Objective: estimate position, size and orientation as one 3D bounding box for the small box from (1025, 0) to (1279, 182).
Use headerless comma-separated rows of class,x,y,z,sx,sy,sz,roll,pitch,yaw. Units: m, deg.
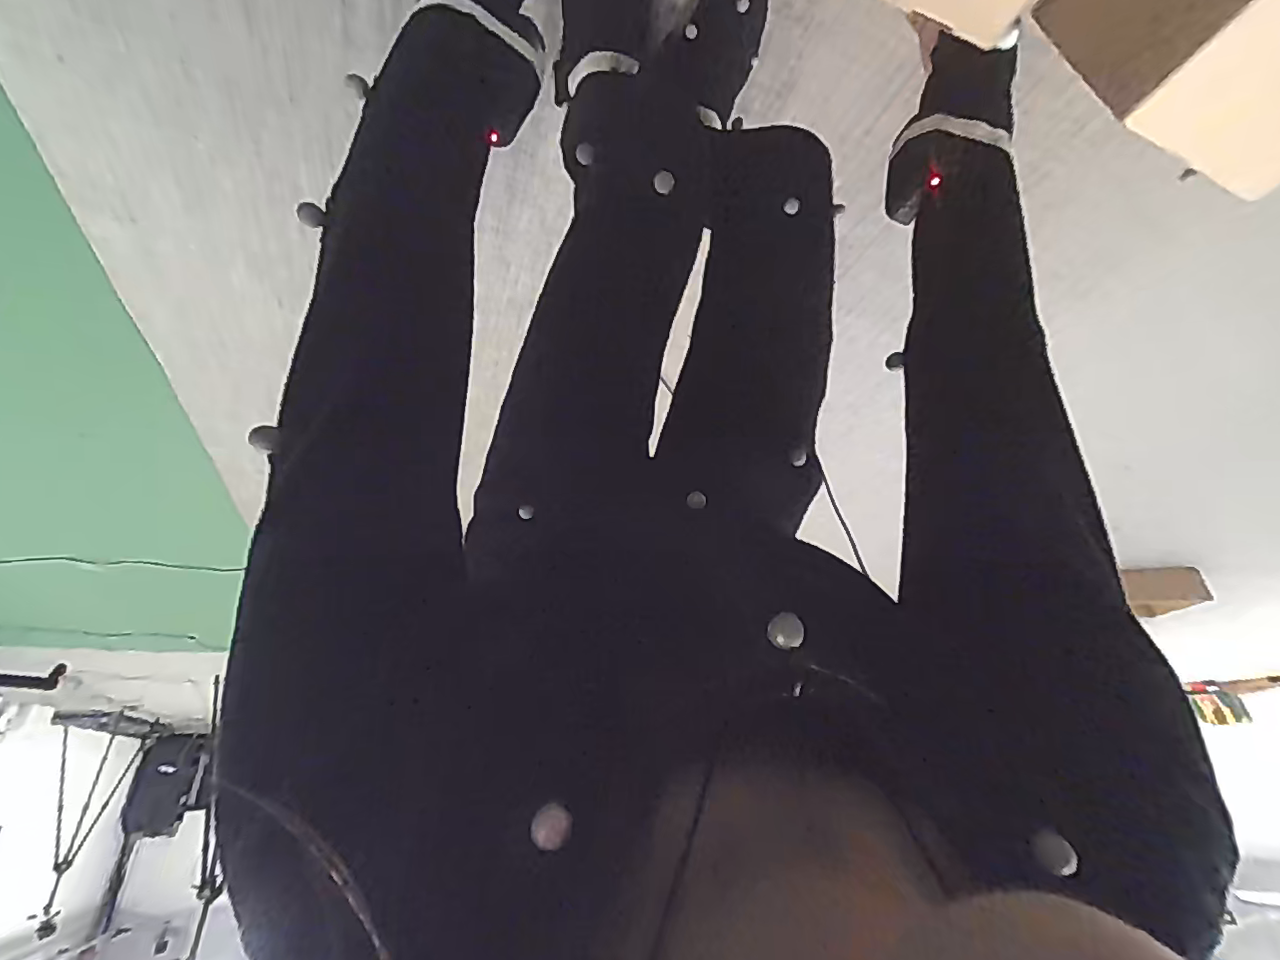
small box,0.425,-0.358,0.380,0.179,0.176,0.168,8,149,-21
